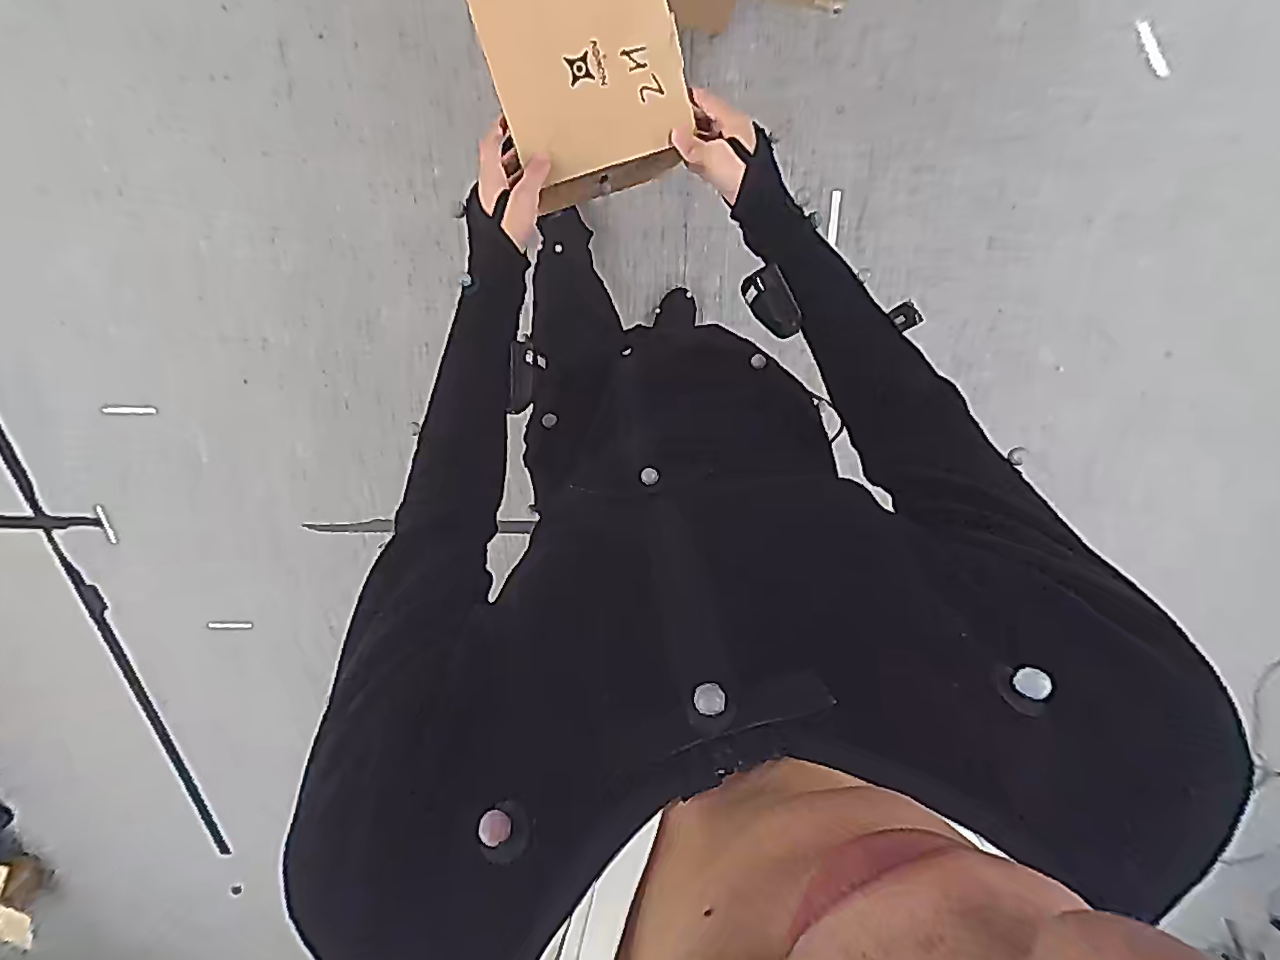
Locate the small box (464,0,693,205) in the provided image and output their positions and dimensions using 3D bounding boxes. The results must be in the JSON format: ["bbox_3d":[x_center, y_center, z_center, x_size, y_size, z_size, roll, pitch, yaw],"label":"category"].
[{"bbox_3d":[-0.060,-0.407,0.568,0.179,0.176,0.168,-18,111,-2],"label":"small box"}]
